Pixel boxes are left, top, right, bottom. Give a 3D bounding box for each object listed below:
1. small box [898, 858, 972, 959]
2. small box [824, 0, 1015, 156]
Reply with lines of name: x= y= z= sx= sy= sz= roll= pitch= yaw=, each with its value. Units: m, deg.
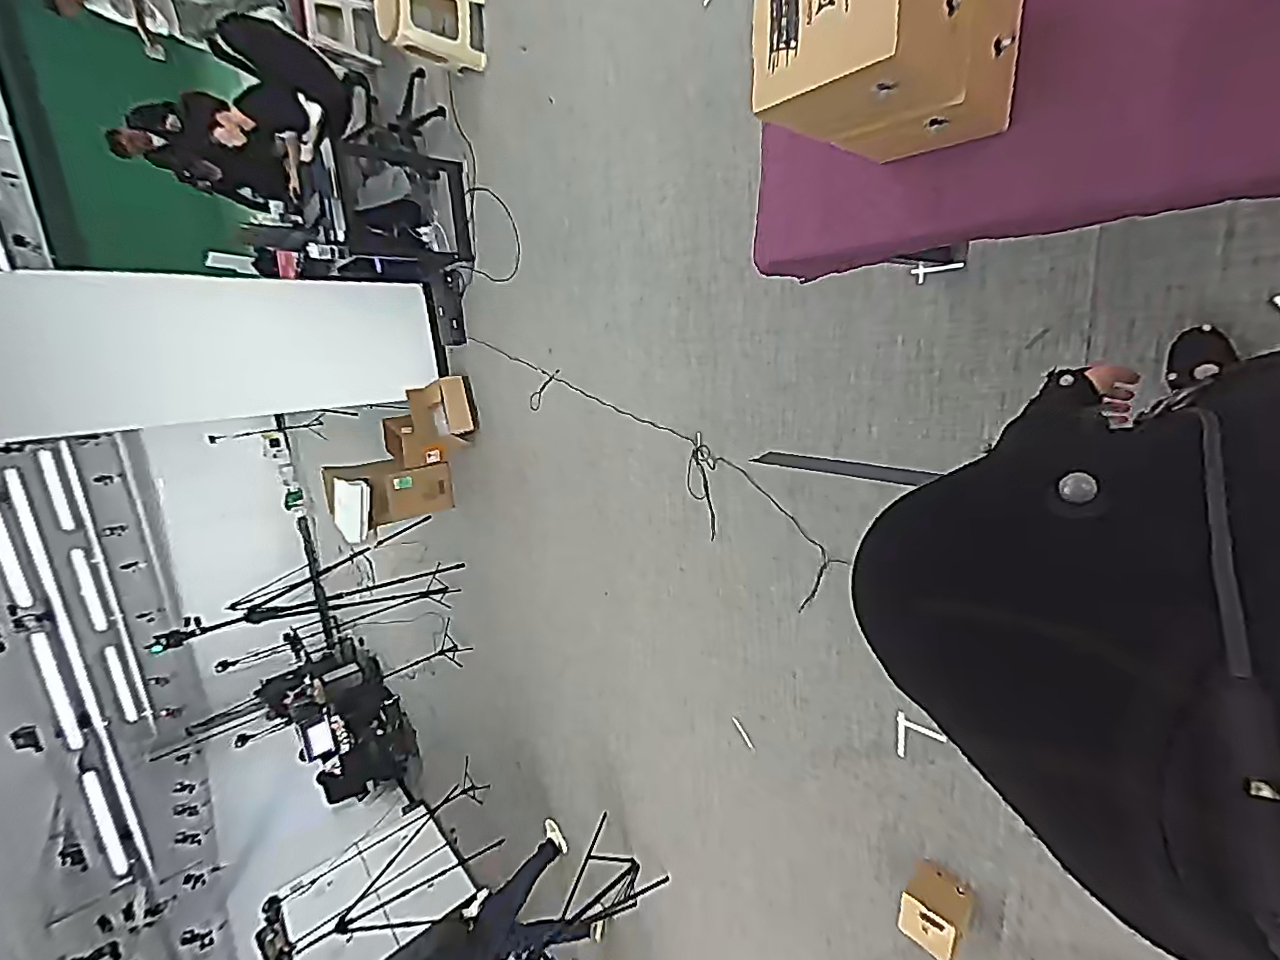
small box: x=0.996 y=1.435 z=1.822 sx=0.168 sy=0.176 sz=0.179 roll=17 pitch=116 yaw=47
small box: x=0.371 y=-0.554 z=0.721 sx=0.179 sy=0.176 sz=0.168 roll=15 pitch=113 yaw=46
